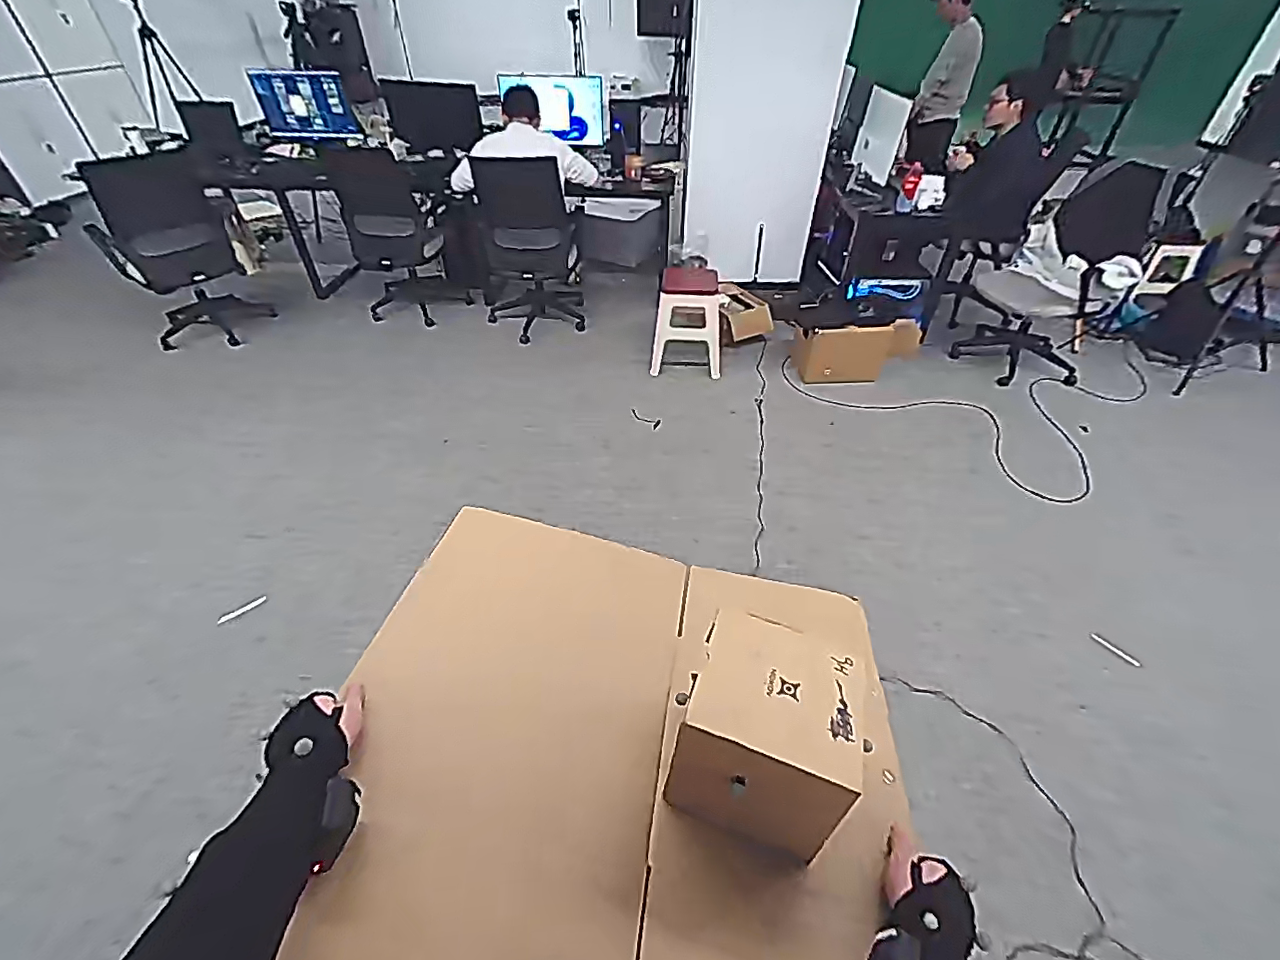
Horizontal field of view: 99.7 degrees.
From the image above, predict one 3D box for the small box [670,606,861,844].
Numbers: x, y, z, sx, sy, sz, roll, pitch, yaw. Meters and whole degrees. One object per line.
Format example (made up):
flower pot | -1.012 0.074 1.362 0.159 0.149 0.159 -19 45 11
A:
small box | 0.142 0.283 0.631 0.179 0.176 0.168 15 38 14
